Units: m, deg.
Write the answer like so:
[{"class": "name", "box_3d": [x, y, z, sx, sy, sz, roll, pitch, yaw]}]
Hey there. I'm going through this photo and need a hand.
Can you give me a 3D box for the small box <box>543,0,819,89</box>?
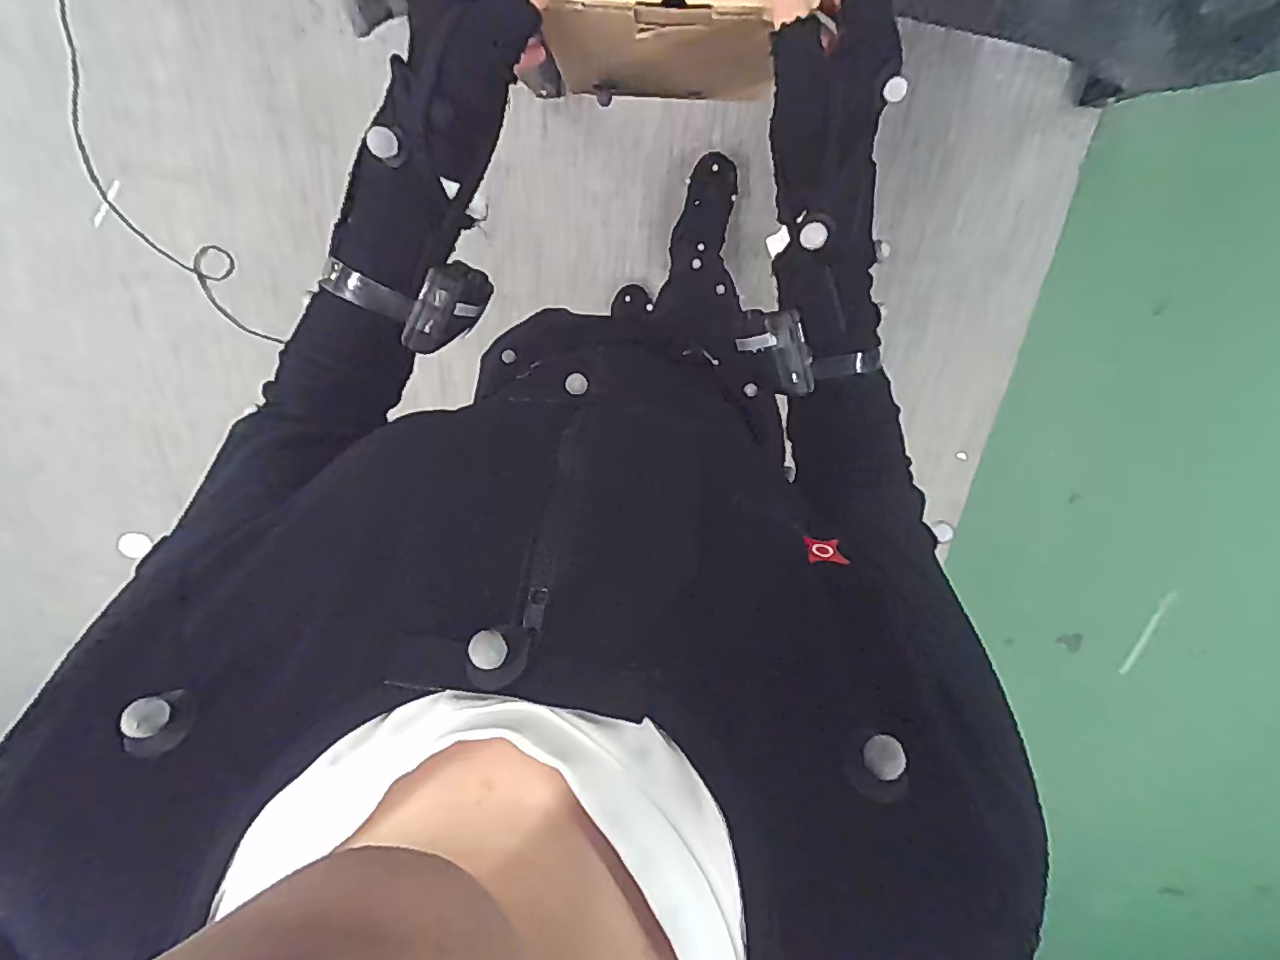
[{"class": "small box", "box_3d": [0.030, -0.382, 0.352, 0.168, 0.176, 0.179, 2, 110, 0]}]
